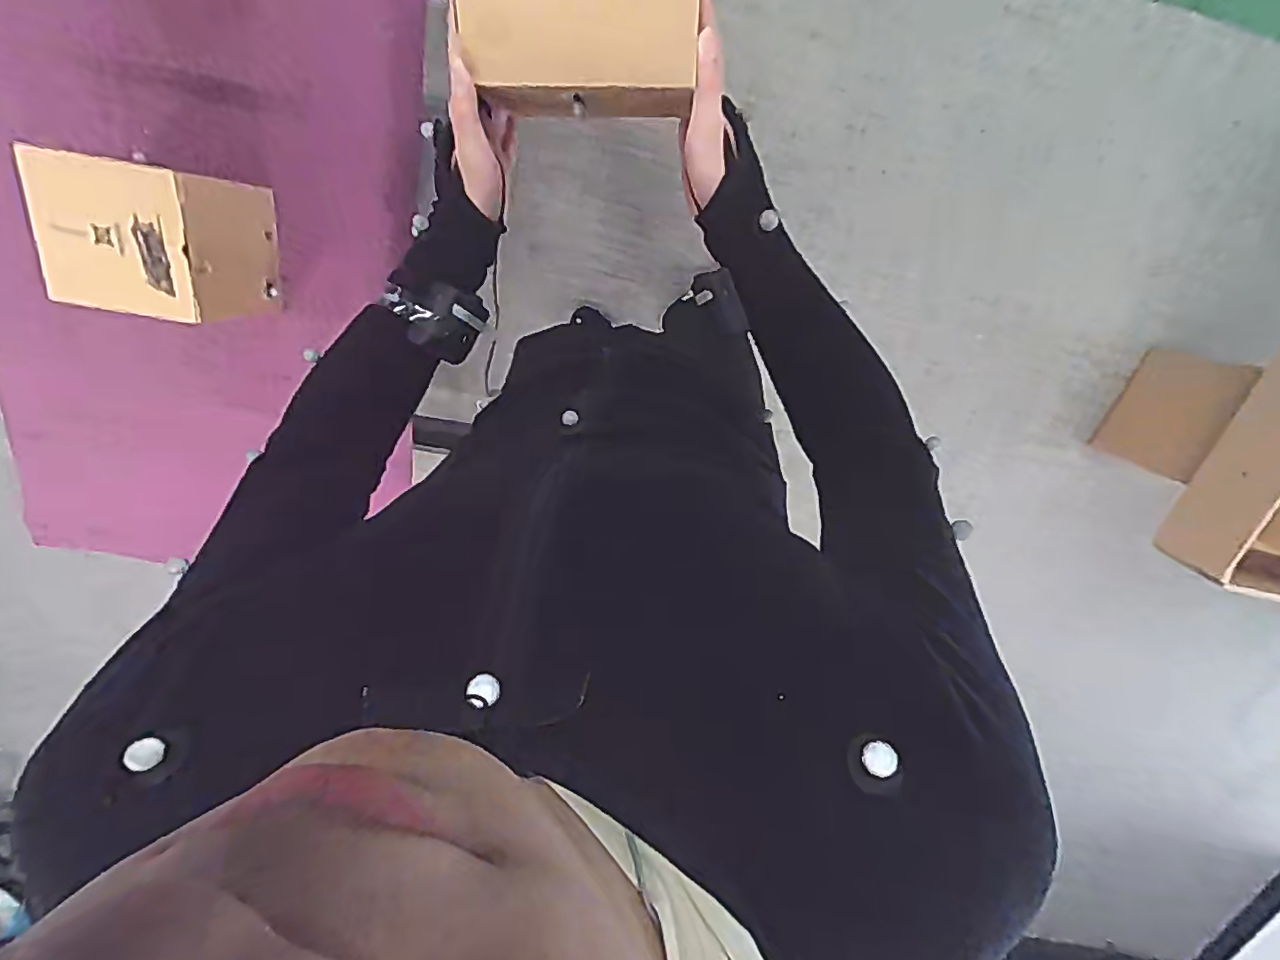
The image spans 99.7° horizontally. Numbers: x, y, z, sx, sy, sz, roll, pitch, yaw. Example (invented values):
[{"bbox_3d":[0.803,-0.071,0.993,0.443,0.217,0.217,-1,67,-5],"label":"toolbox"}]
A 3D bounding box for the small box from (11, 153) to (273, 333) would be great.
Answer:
[{"bbox_3d":[-0.599,-0.293,0.685,0.179,0.176,0.168,9,112,-3],"label":"small box"}]

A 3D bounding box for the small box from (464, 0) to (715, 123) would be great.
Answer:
[{"bbox_3d":[-0.031,-0.391,0.427,0.179,0.176,0.168,2,117,1],"label":"small box"}]
